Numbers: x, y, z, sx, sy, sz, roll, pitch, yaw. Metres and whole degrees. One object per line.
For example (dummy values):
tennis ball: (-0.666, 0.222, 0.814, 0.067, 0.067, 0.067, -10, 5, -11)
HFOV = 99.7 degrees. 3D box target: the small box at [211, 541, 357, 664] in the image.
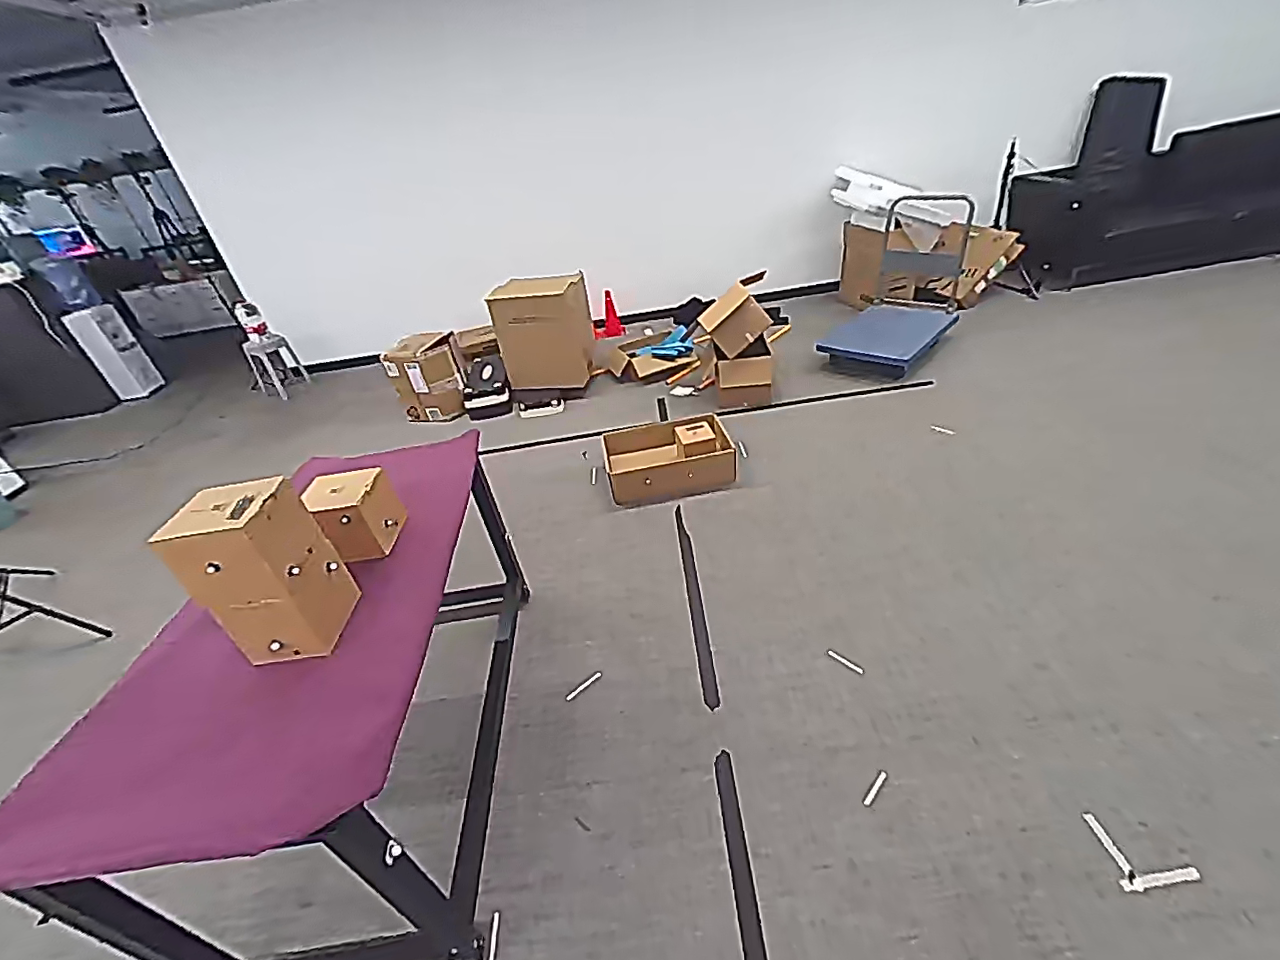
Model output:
small box: (-0.725, 0.255, 1.131, 0.168, 0.176, 0.179, -9, 34, 3)

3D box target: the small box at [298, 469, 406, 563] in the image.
small box: (-0.728, 0.097, 1.364, 0.179, 0.176, 0.168, -9, 34, 3)

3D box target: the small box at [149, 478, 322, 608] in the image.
small box: (-0.757, 0.122, 1.040, 0.179, 0.176, 0.168, -10, 34, 1)
